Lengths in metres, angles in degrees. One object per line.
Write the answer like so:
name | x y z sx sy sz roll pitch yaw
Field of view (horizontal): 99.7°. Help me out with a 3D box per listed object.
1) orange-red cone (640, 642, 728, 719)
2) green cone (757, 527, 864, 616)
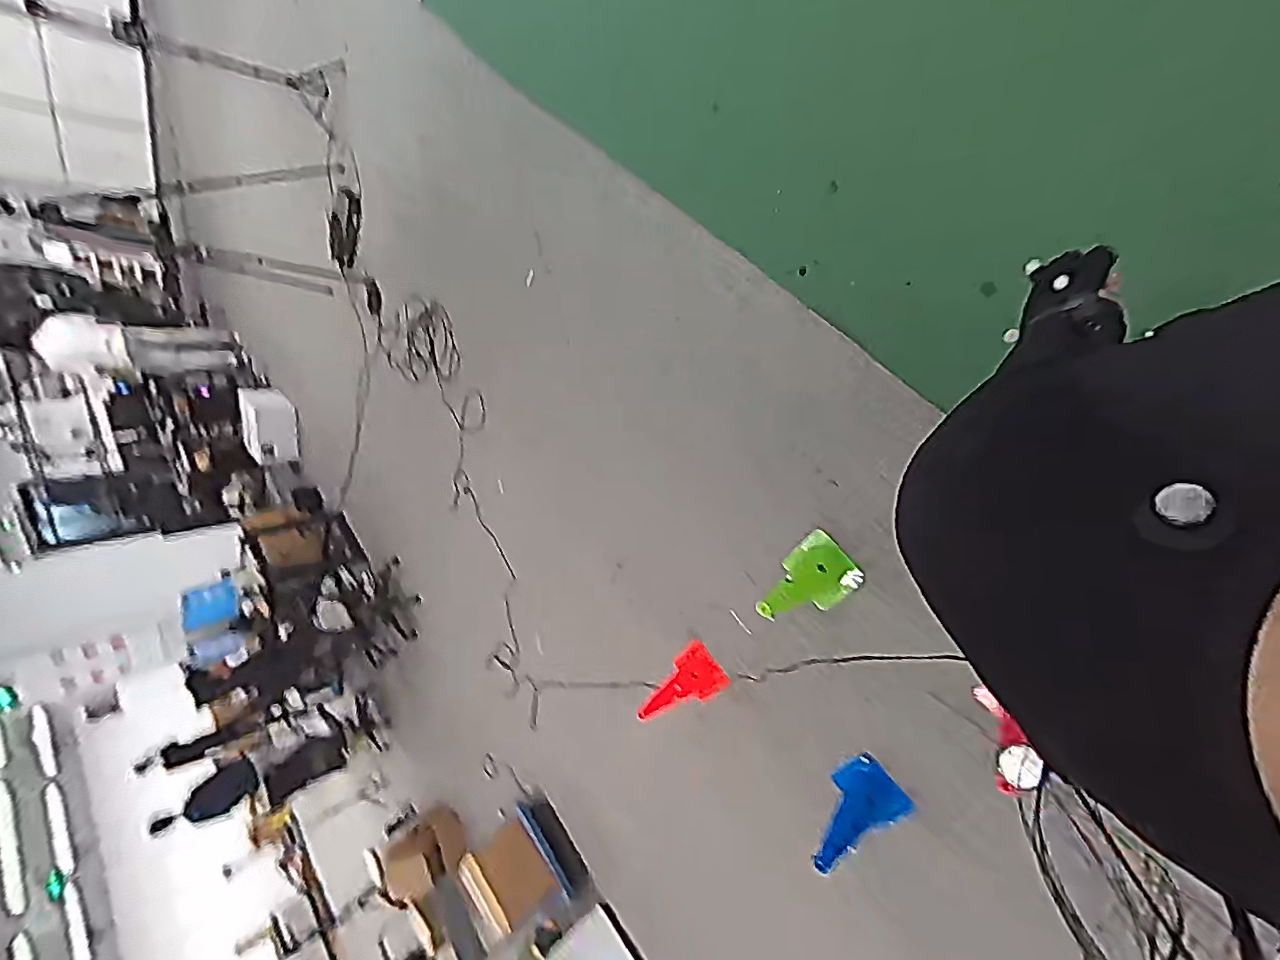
orange-red cone | 0.128 0.786 2.017 0.198 0.360 0.199 52 129 20
green cone | 0.454 0.306 1.572 0.200 0.368 0.202 51 131 22
